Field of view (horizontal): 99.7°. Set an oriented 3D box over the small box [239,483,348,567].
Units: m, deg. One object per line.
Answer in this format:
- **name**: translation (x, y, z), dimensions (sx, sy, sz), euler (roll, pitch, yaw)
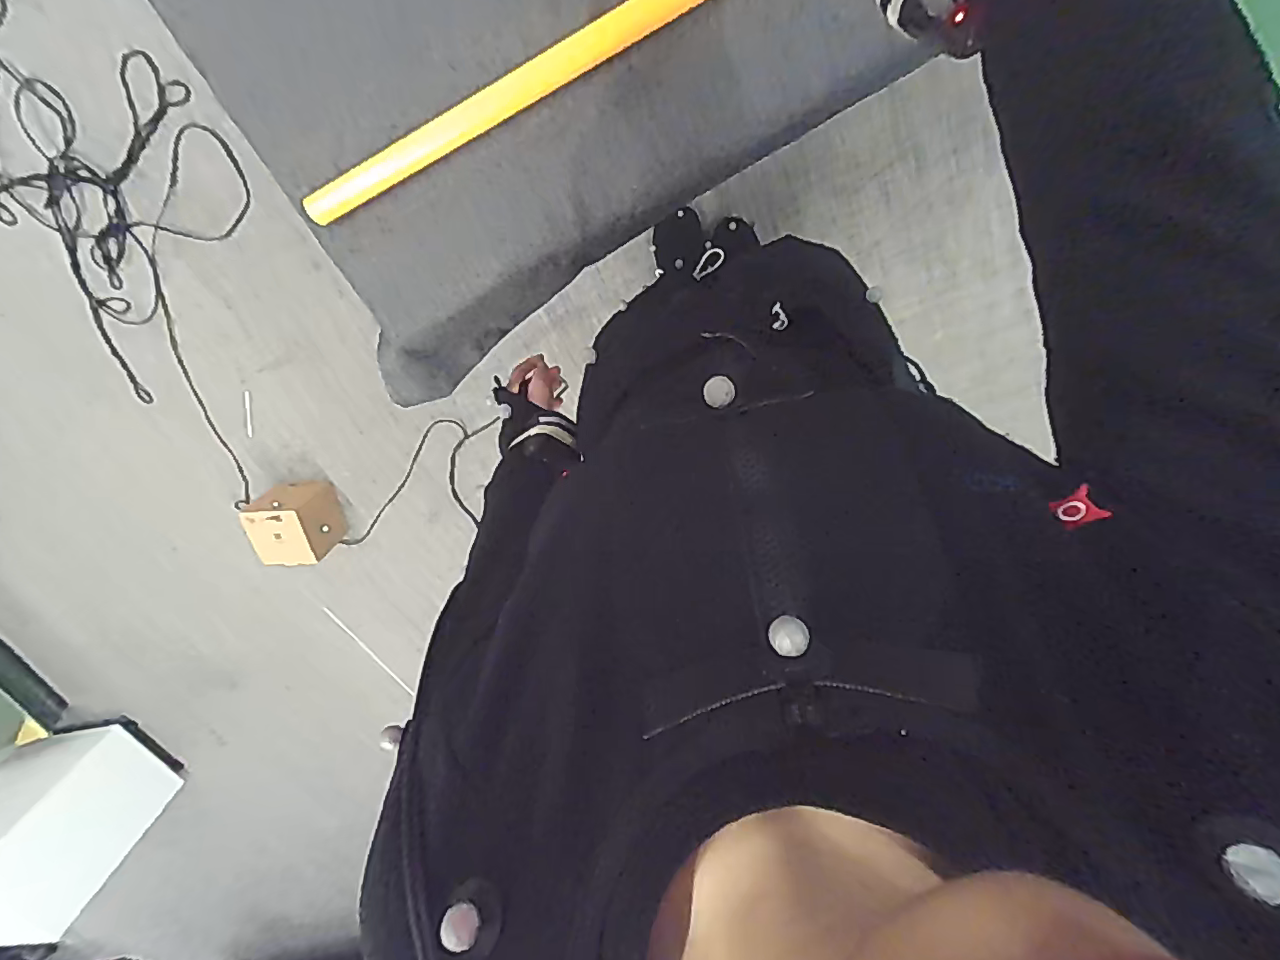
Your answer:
- **small box**: translation (-0.961, 0.124, 1.518), dimensions (0.168, 0.176, 0.179), euler (-2, 119, 6)
